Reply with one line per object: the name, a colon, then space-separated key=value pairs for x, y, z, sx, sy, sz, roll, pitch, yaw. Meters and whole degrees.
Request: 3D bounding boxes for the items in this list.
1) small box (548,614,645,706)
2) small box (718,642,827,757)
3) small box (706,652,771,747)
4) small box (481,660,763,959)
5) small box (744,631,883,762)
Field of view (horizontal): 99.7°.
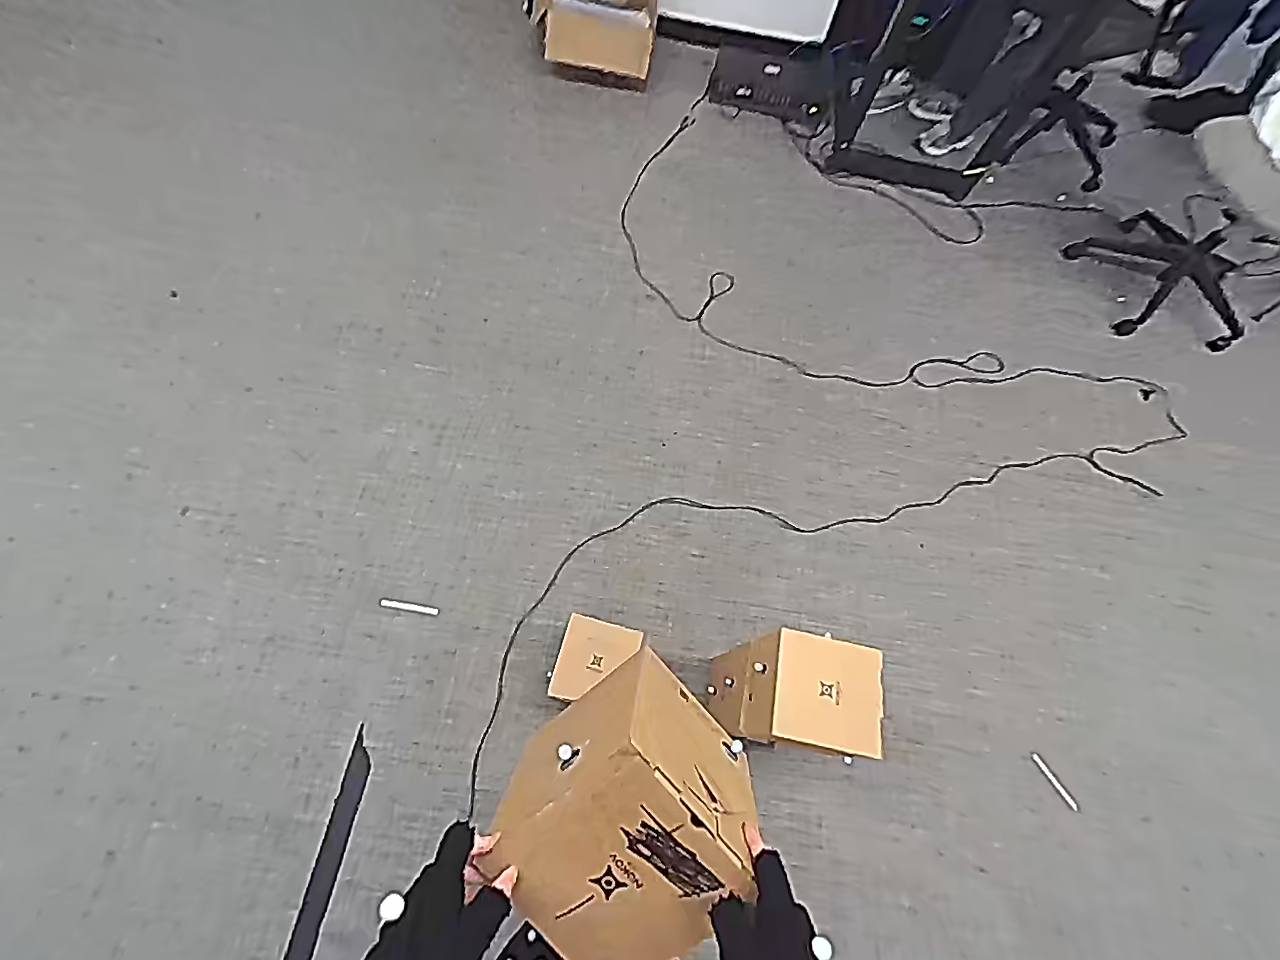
small box: x=-0.097 y=0.420 z=1.211 sx=0.168 sy=0.176 sz=0.179 roll=17 pitch=65 yaw=0
small box: x=0.266 y=0.434 z=1.068 sx=0.179 sy=0.176 sz=0.168 roll=16 pitch=66 yaw=-1
small box: x=0.257 y=0.499 z=1.220 sx=0.179 sy=0.176 sz=0.168 roll=14 pitch=66 yaw=-1
small box: x=-0.011 y=0.309 z=0.517 sx=0.179 sy=0.176 sz=0.168 roll=-42 pitch=92 yaw=9
small box: x=0.287 y=0.369 z=0.920 sx=0.179 sy=0.176 sz=0.168 roll=14 pitch=65 yaw=-2
